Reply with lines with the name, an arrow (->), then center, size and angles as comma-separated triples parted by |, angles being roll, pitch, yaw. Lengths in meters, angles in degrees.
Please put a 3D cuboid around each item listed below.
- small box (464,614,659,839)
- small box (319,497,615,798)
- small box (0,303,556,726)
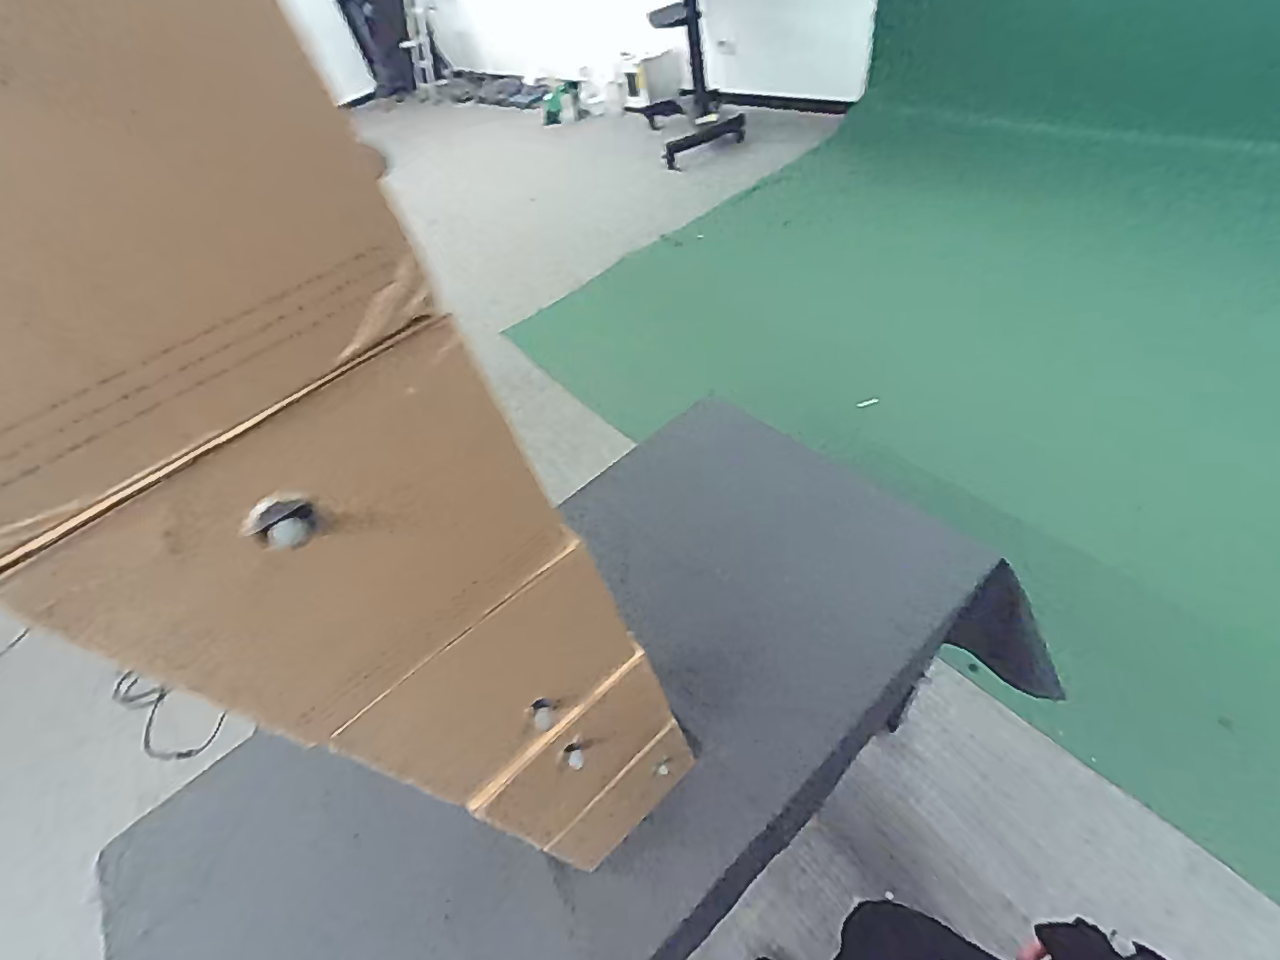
small box -> -0.097, 0.212, 0.539 | 0.179, 0.176, 0.168 | -39, 51, -19
small box -> -0.136, 0.104, 0.422 | 0.179, 0.176, 0.168 | -37, 50, -18
small box -> -0.176, -0.001, 0.302 | 0.179, 0.176, 0.168 | -38, 51, -19
